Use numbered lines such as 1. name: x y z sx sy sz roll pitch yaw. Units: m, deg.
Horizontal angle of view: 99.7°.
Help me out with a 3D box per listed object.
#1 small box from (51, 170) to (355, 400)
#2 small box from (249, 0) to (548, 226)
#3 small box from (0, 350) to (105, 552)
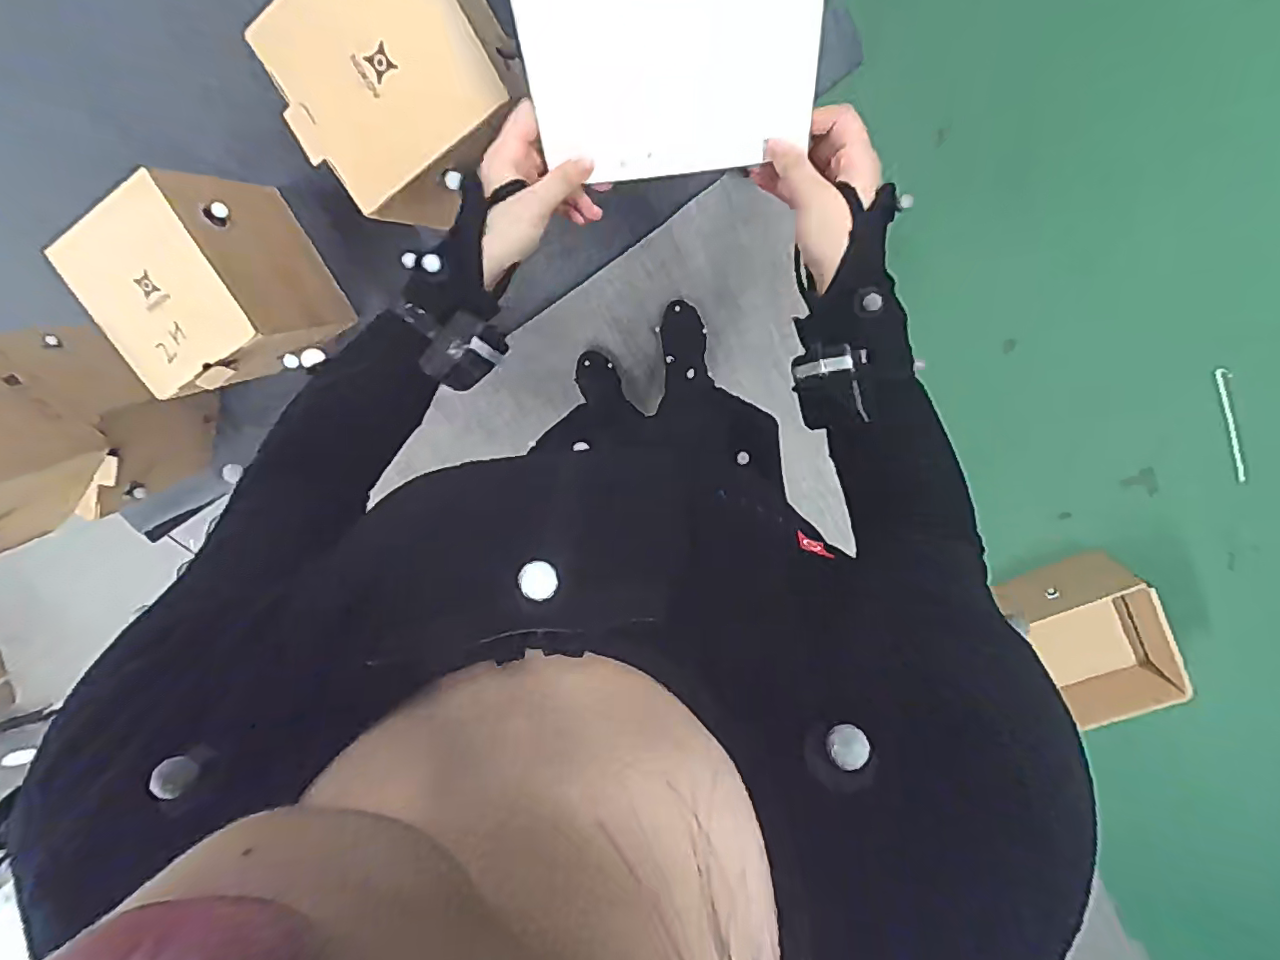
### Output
1. small box: -0.484 -0.219 0.627 0.168 0.176 0.179 -23 107 17
2. small box: -0.208 -0.373 0.526 0.179 0.176 0.168 -27 105 19
3. small box: -0.735 -0.015 0.569 0.179 0.176 0.168 -41 101 22
